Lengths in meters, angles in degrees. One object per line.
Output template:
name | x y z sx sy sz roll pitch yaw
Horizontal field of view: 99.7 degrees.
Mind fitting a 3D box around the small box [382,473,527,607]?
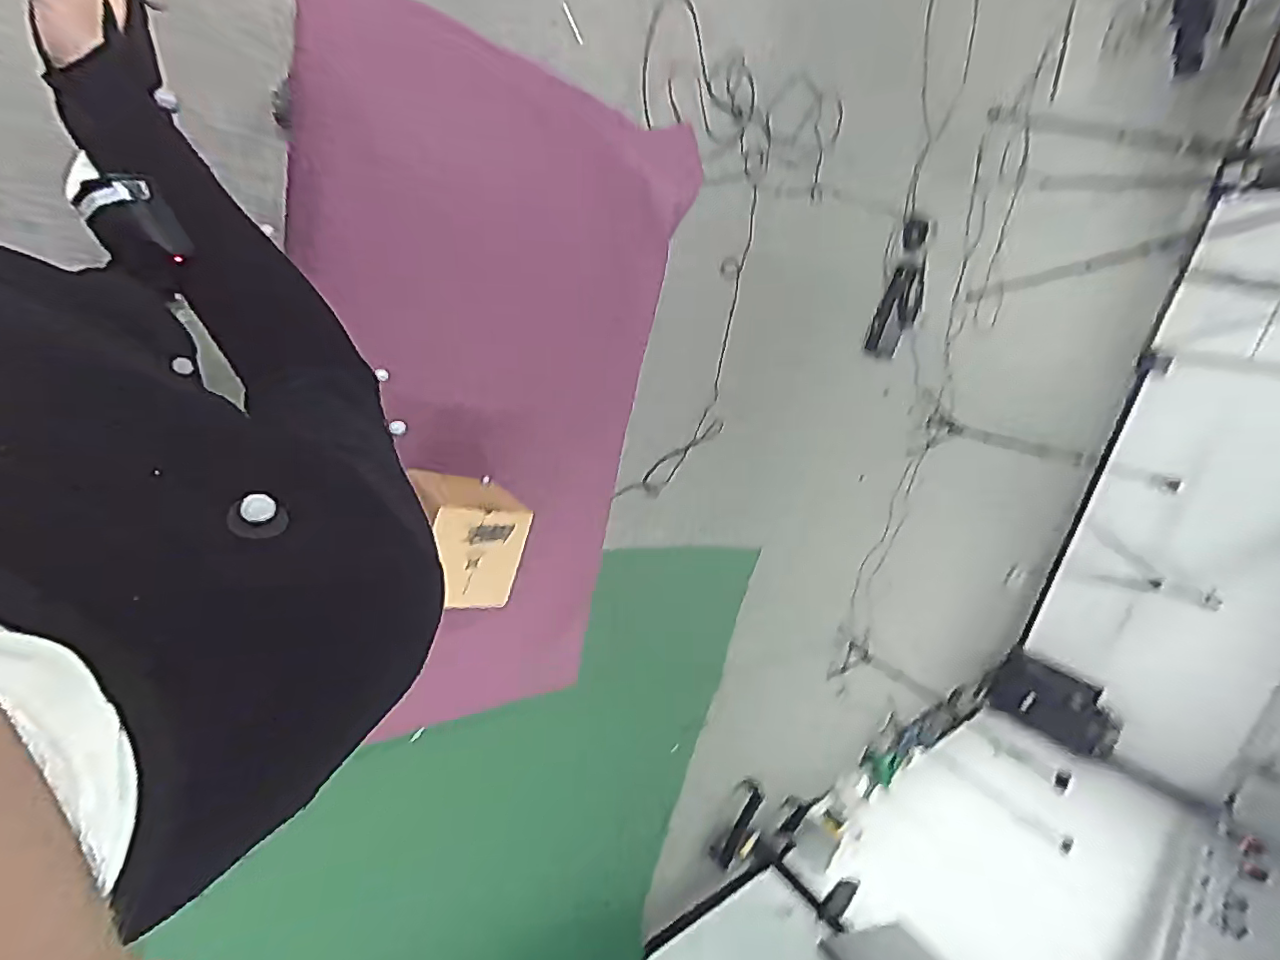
small box | -0.325 0.100 0.933 0.168 0.176 0.179 11 103 -43
